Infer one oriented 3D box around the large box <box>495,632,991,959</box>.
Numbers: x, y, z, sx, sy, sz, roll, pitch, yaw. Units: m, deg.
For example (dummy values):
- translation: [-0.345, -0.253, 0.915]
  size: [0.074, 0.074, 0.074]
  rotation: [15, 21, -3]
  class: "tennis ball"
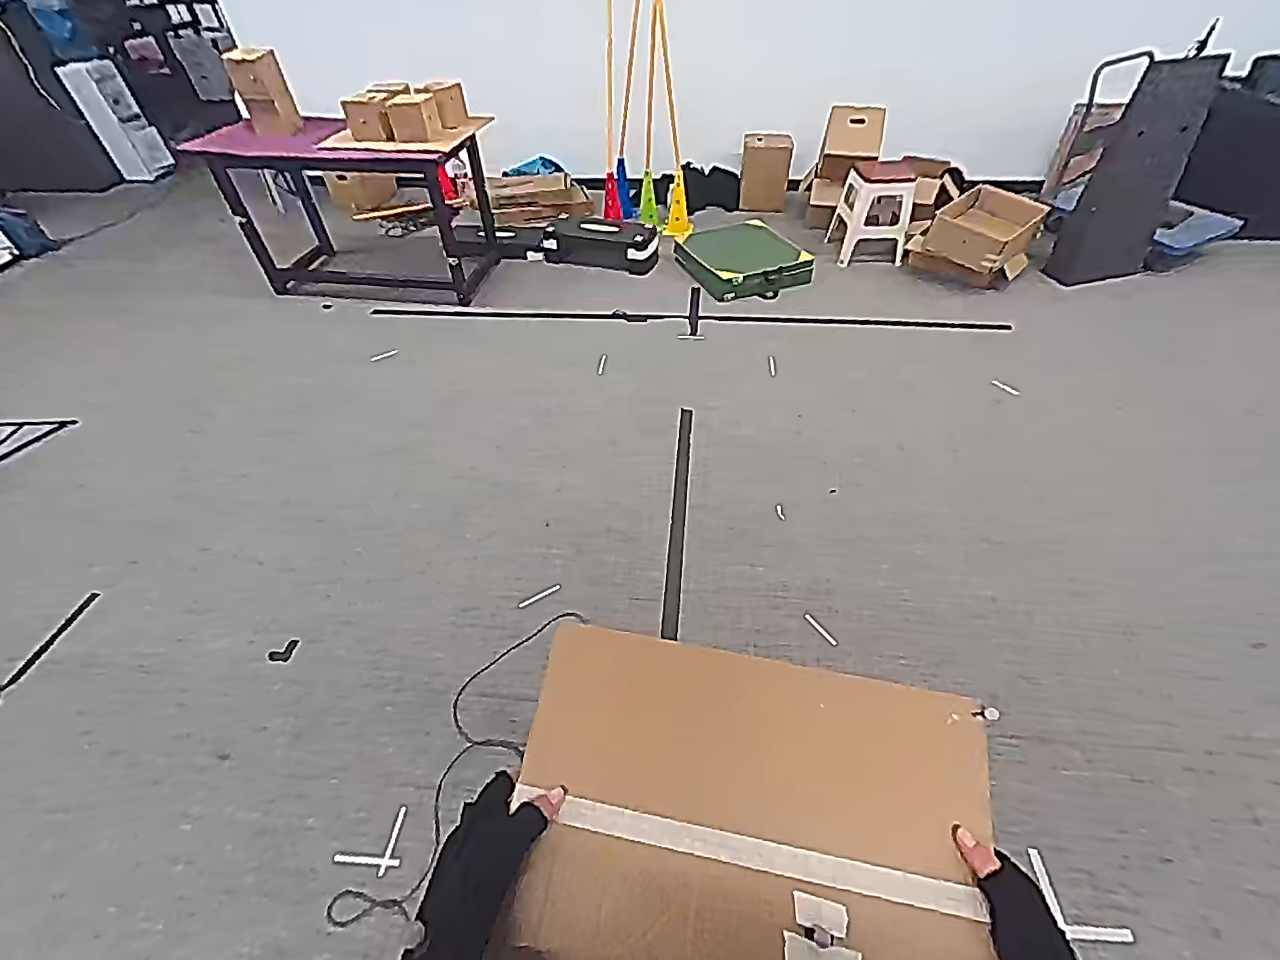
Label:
- translation: [0.101, 0.381, 0.608]
  size: [0.408, 0.320, 0.320]
  rotation: [8, 67, 8]
  class: "large box"
